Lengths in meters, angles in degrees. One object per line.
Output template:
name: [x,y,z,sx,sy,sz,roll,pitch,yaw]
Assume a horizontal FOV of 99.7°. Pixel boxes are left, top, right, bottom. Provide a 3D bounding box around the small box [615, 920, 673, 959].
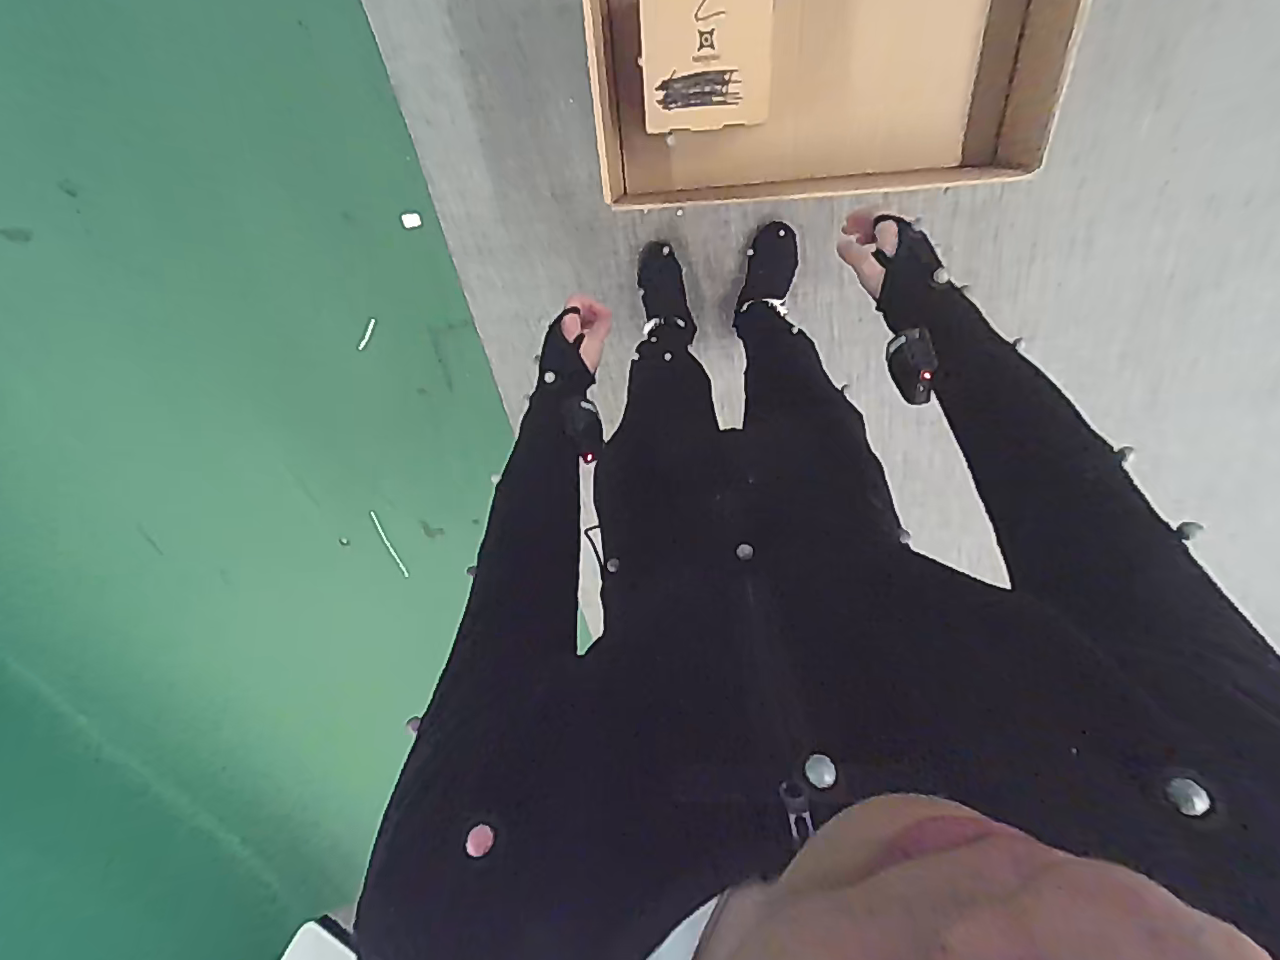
small box: [0.014,1.595,1.788,0.168,0.176,0.179,-6,122,10]
